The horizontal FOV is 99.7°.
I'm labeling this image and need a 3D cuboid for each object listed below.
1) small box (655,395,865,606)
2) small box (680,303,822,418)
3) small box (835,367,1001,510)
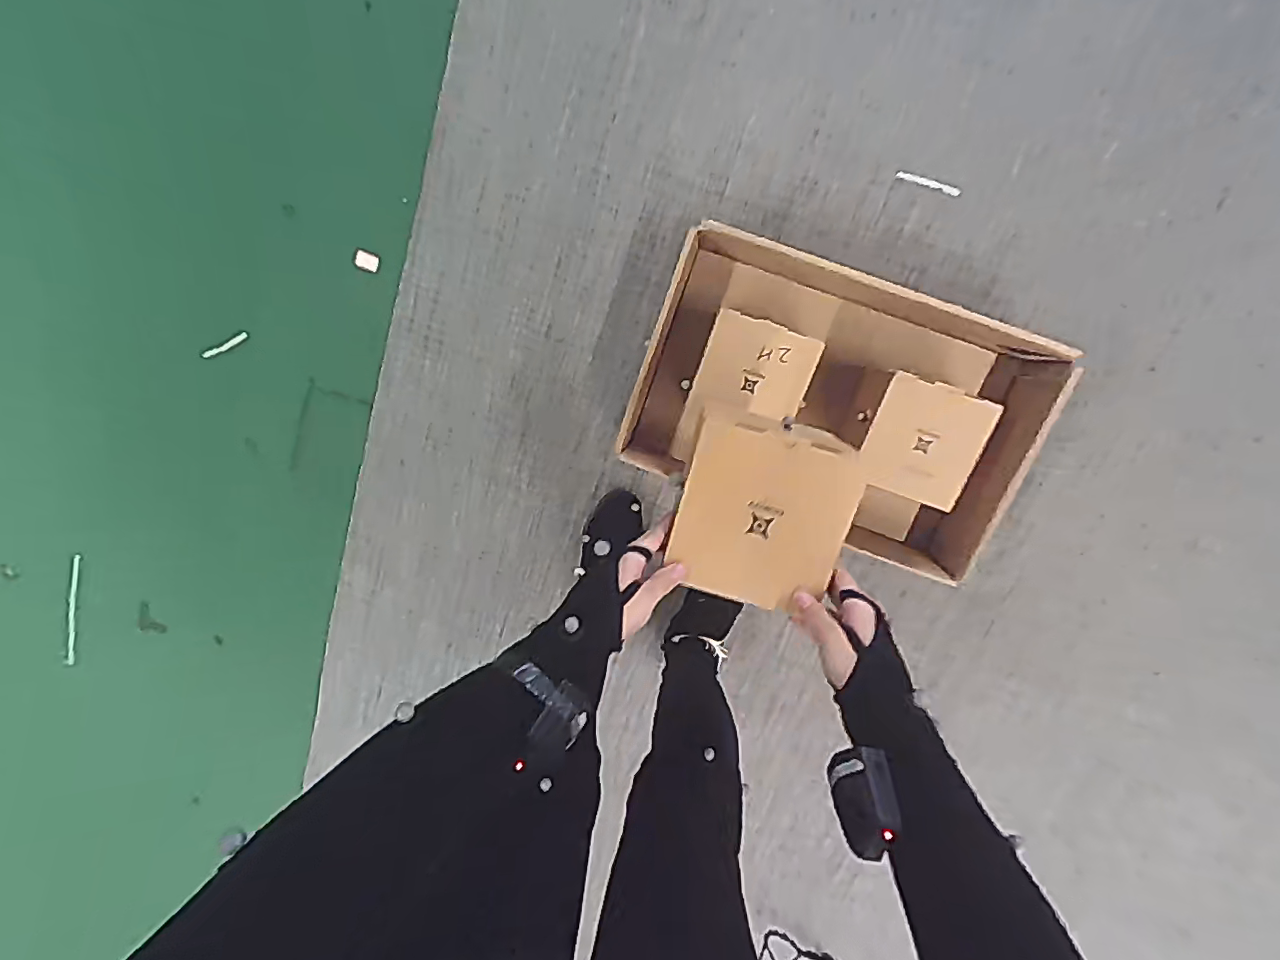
[{"bbox_3d":[0.124,0.010,0.612,0.168,0.176,0.179,16,102,2],"label":"small box"},{"bbox_3d":[0.176,-0.173,0.895,0.168,0.176,0.179,20,104,1],"label":"small box"},{"bbox_3d":[0.434,-0.078,0.888,0.168,0.176,0.179,21,105,3],"label":"small box"}]
